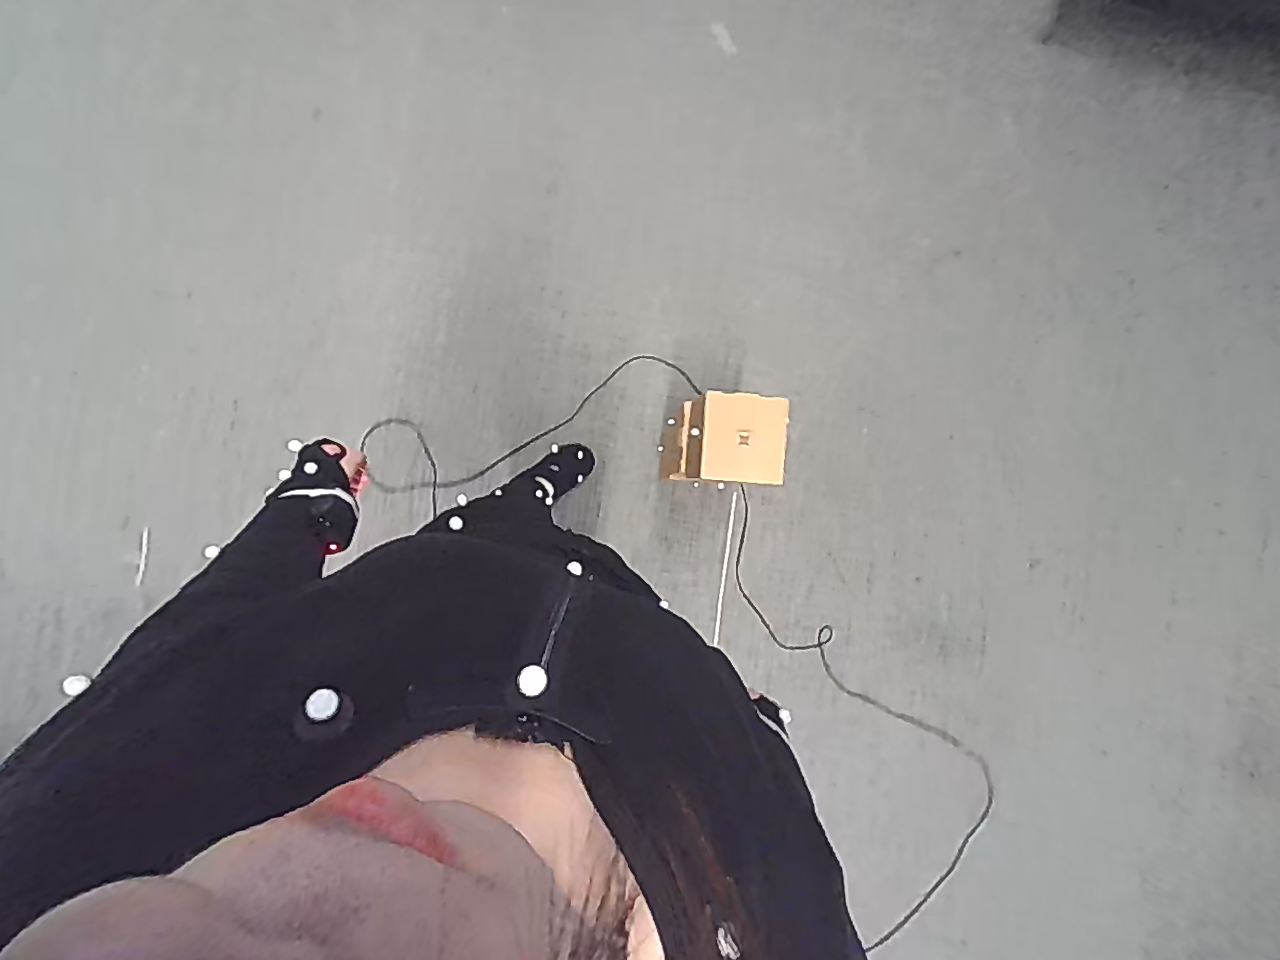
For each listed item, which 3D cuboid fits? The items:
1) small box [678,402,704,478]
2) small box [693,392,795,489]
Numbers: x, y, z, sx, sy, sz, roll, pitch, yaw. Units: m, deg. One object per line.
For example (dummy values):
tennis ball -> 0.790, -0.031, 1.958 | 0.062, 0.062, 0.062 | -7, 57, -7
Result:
small box -> 0.193, -0.085, 1.298 | 0.179, 0.176, 0.168 | 5, 89, -5
small box -> 0.210, -0.075, 1.136 | 0.168, 0.176, 0.179 | 6, 87, -4
